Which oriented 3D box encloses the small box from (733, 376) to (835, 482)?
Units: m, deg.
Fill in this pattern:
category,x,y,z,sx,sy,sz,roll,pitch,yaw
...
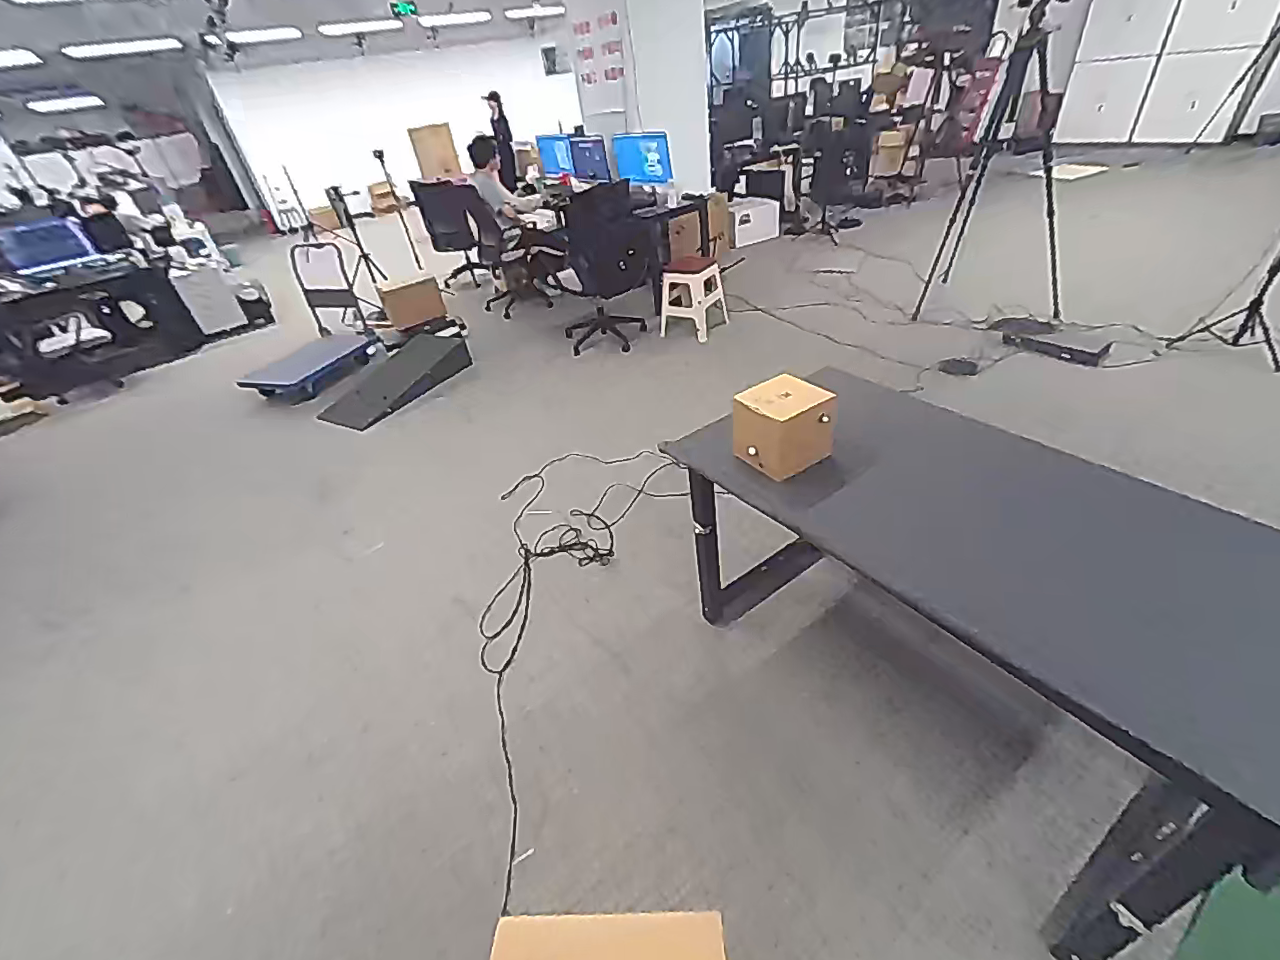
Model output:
category,x,y,z,sx,sy,sz,roll,pitch,yaw
small box,0.340,-0.124,1.308,0.179,0.176,0.168,-25,39,-22
